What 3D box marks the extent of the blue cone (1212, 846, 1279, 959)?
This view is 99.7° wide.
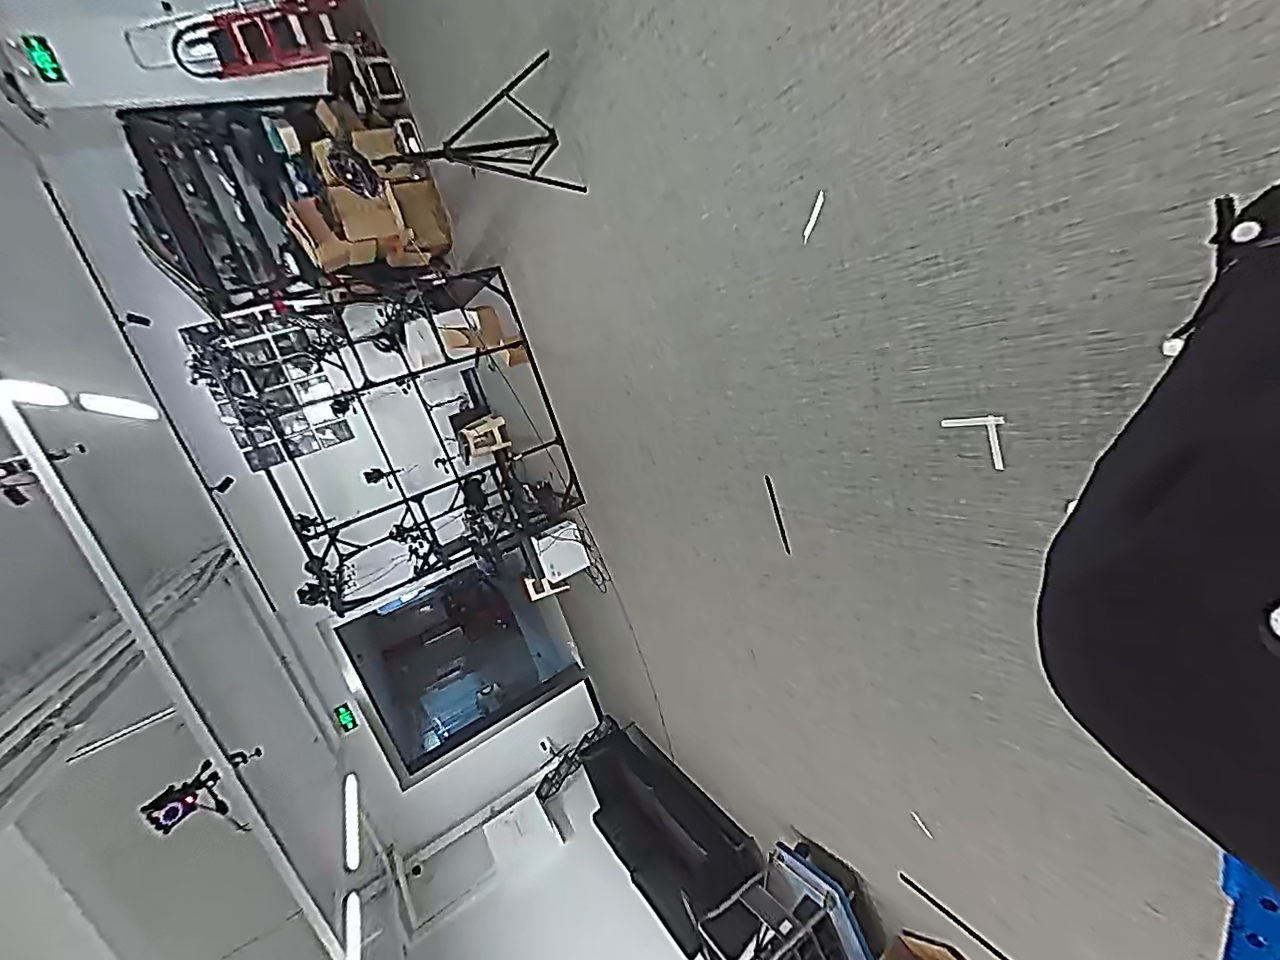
[{"bbox_3d":[1.434,1.089,1.265,0.192,0.380,0.193,18,128,60],"label":"blue cone"}]
